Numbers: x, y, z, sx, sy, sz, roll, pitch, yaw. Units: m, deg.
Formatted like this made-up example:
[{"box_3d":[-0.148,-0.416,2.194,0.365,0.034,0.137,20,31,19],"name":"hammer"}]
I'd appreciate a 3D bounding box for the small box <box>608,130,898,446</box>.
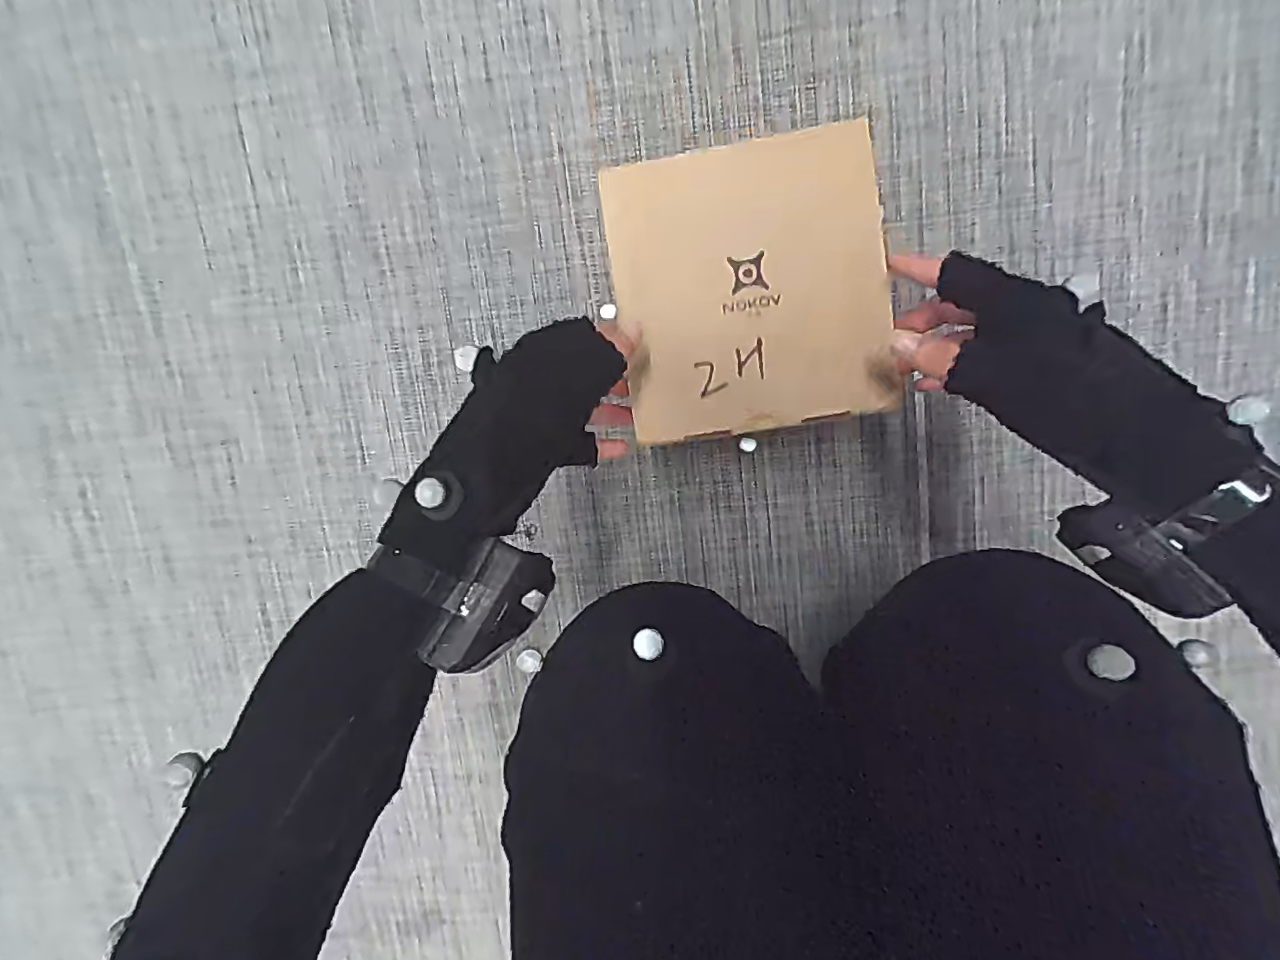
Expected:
[{"box_3d":[0.076,-0.121,0.416,0.168,0.176,0.179,-8,94,6],"name":"small box"}]
